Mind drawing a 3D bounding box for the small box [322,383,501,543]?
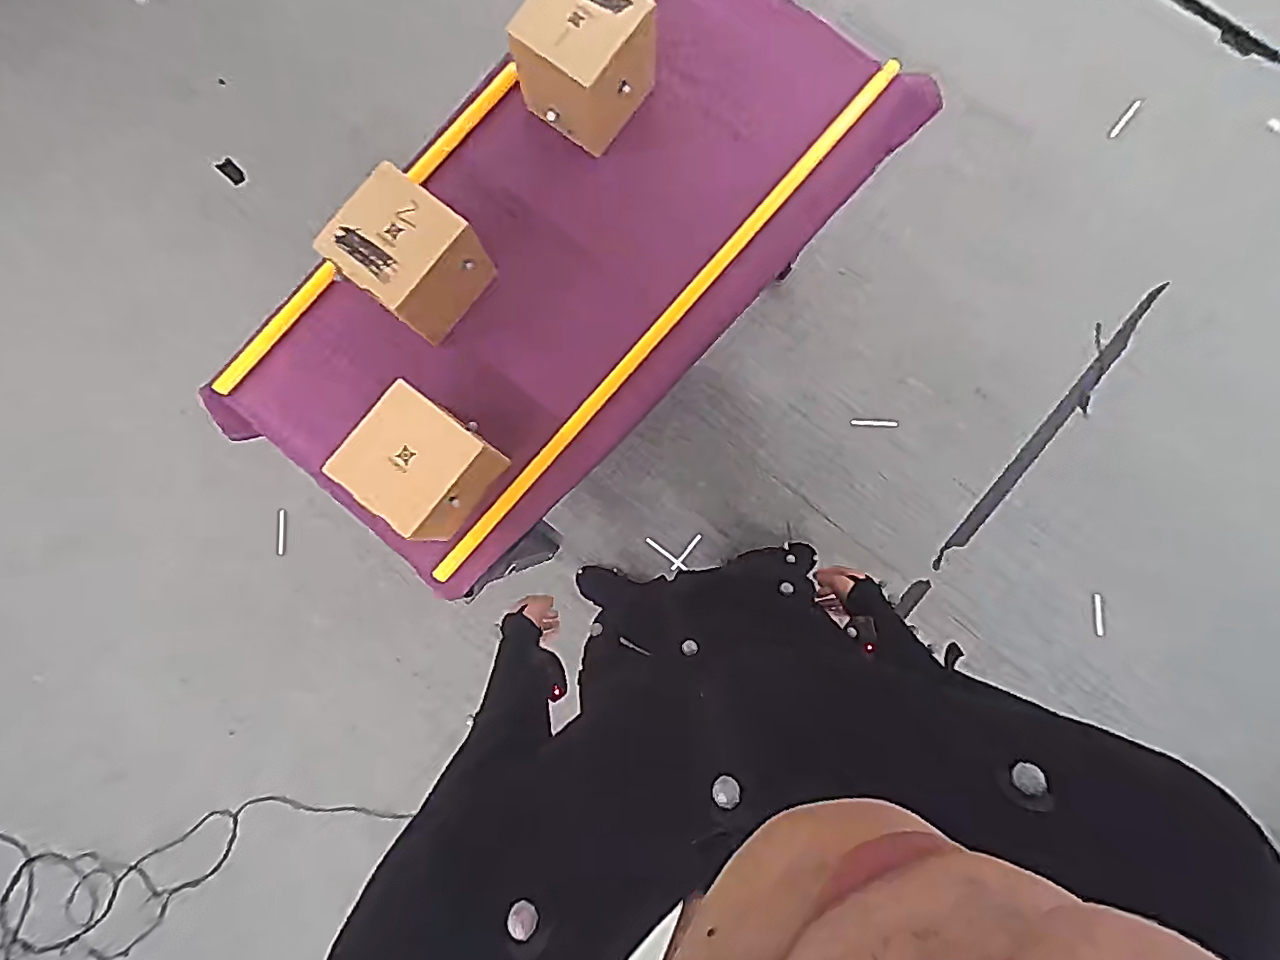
[{"bbox_3d":[-0.340,-0.019,0.853,0.168,0.176,0.179,37,86,5],"label":"small box"}]

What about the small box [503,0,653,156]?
[{"bbox_3d":[-0.095,-0.699,0.900,0.168,0.176,0.179,37,89,3],"label":"small box"}]
